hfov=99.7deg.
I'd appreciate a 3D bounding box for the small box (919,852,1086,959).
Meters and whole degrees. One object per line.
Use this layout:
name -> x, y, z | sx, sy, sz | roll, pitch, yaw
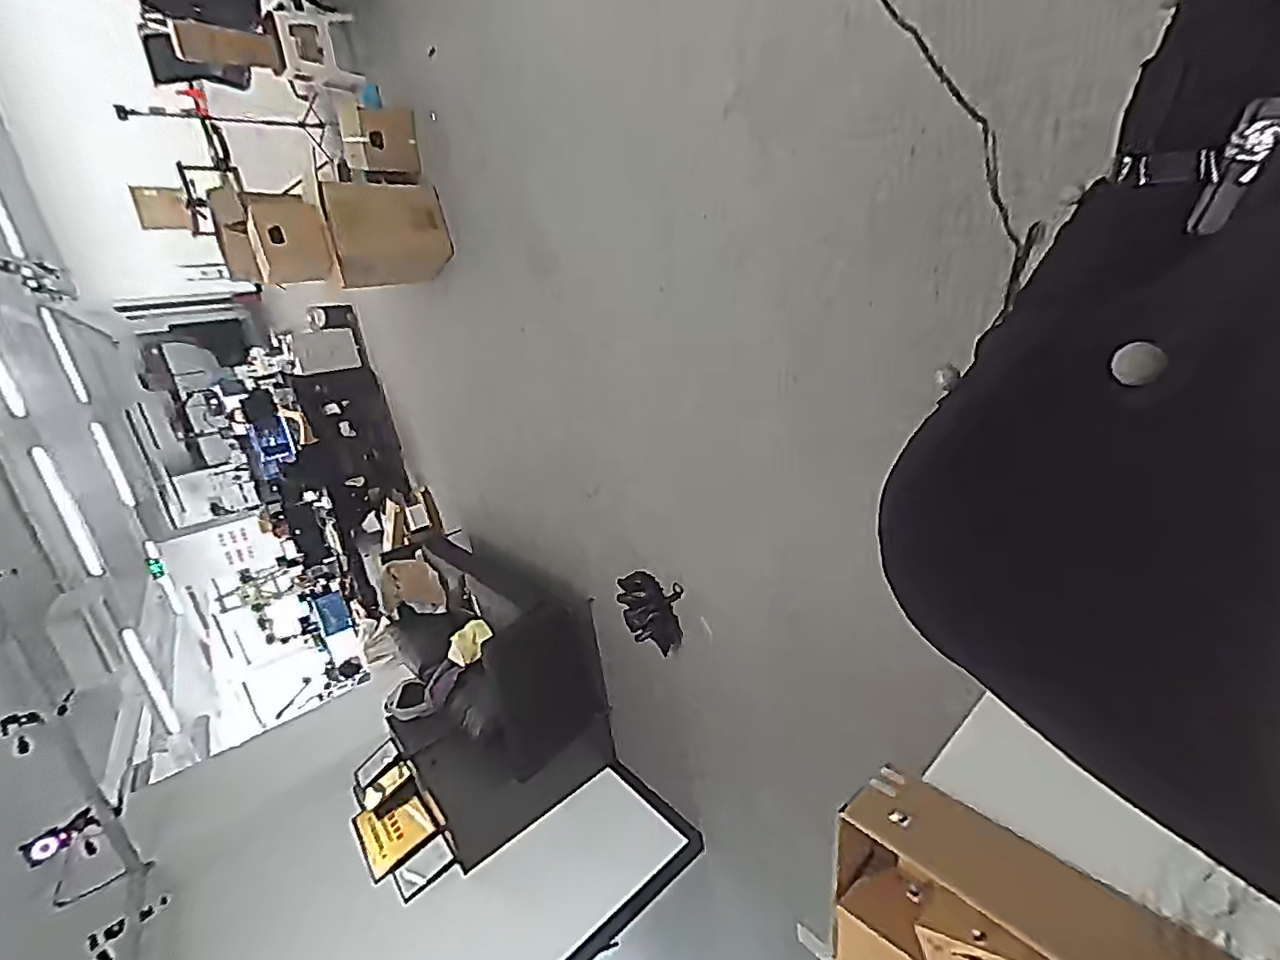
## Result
small box -> 0.616, 0.783, 0.911 | 0.168, 0.176, 0.179 | -26, 82, 52
